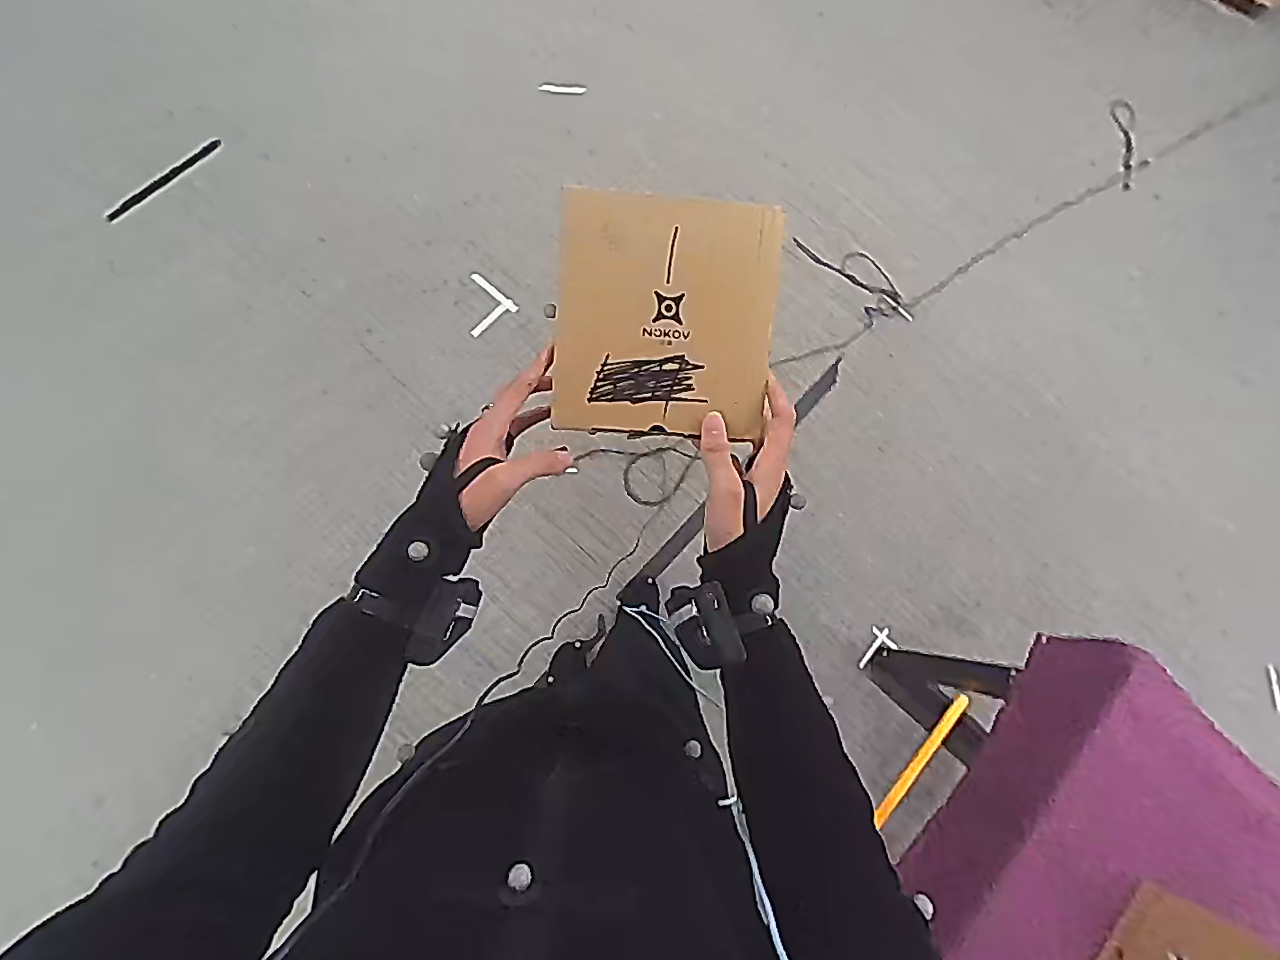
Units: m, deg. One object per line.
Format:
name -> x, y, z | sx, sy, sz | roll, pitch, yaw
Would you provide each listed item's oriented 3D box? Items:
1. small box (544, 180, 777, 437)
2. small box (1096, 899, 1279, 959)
small box -> 0.008, -0.137, 0.482 | 0.168, 0.176, 0.179 | 3, 99, -5
small box -> 0.707, 0.660, 0.651 | 0.168, 0.176, 0.179 | -43, 85, -12
